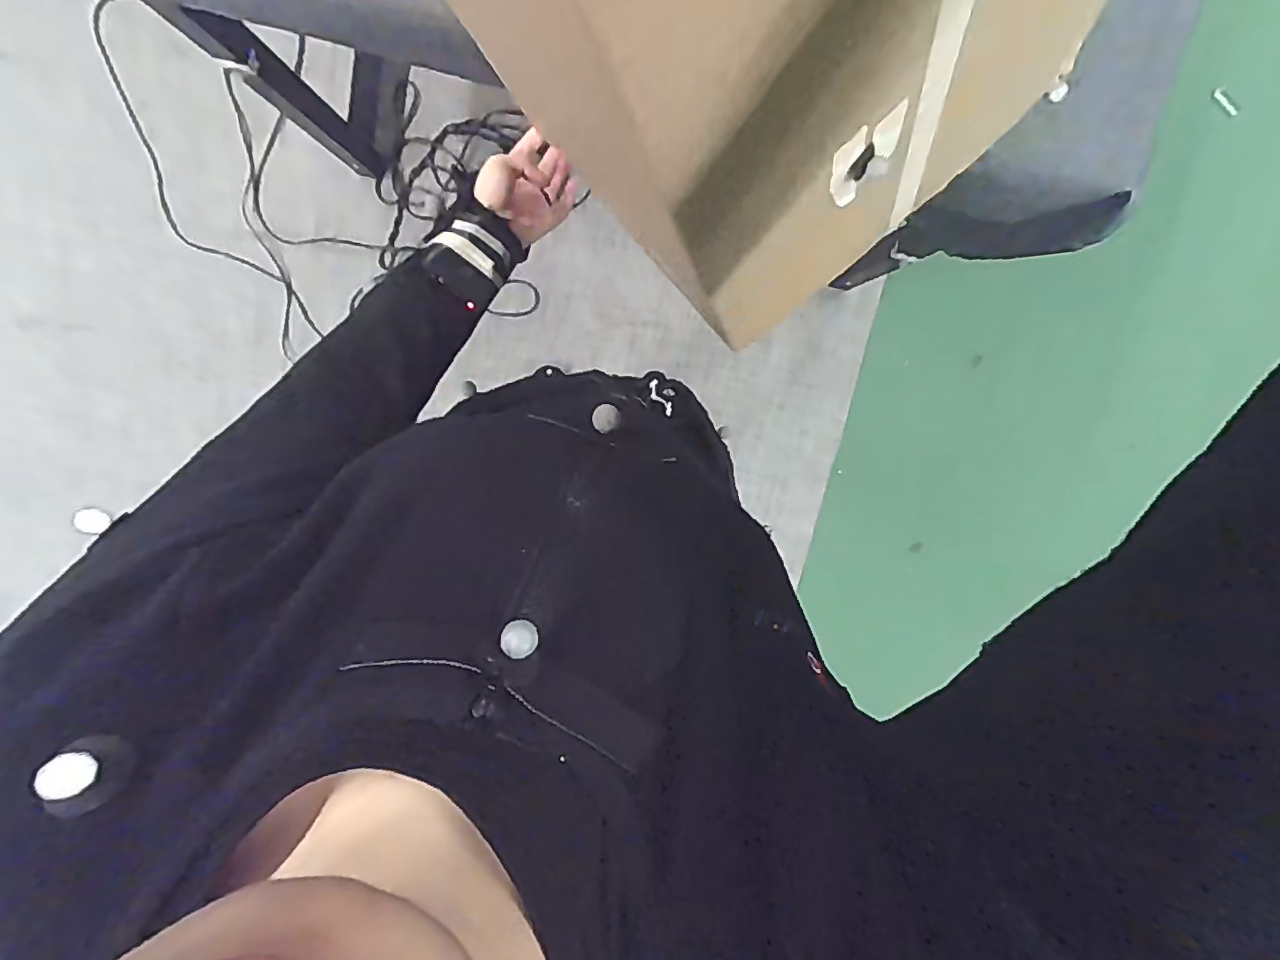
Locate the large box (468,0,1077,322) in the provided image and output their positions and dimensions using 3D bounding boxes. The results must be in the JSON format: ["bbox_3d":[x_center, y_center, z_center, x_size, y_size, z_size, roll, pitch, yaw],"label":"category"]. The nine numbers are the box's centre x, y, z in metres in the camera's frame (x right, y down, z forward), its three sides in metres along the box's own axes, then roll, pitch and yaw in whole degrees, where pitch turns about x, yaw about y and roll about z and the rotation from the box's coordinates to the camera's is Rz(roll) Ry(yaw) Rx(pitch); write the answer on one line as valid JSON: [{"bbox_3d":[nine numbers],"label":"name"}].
[{"bbox_3d":[0.049,-0.353,0.279,0.320,0.408,0.320,-41,77,11],"label":"large box"}]
